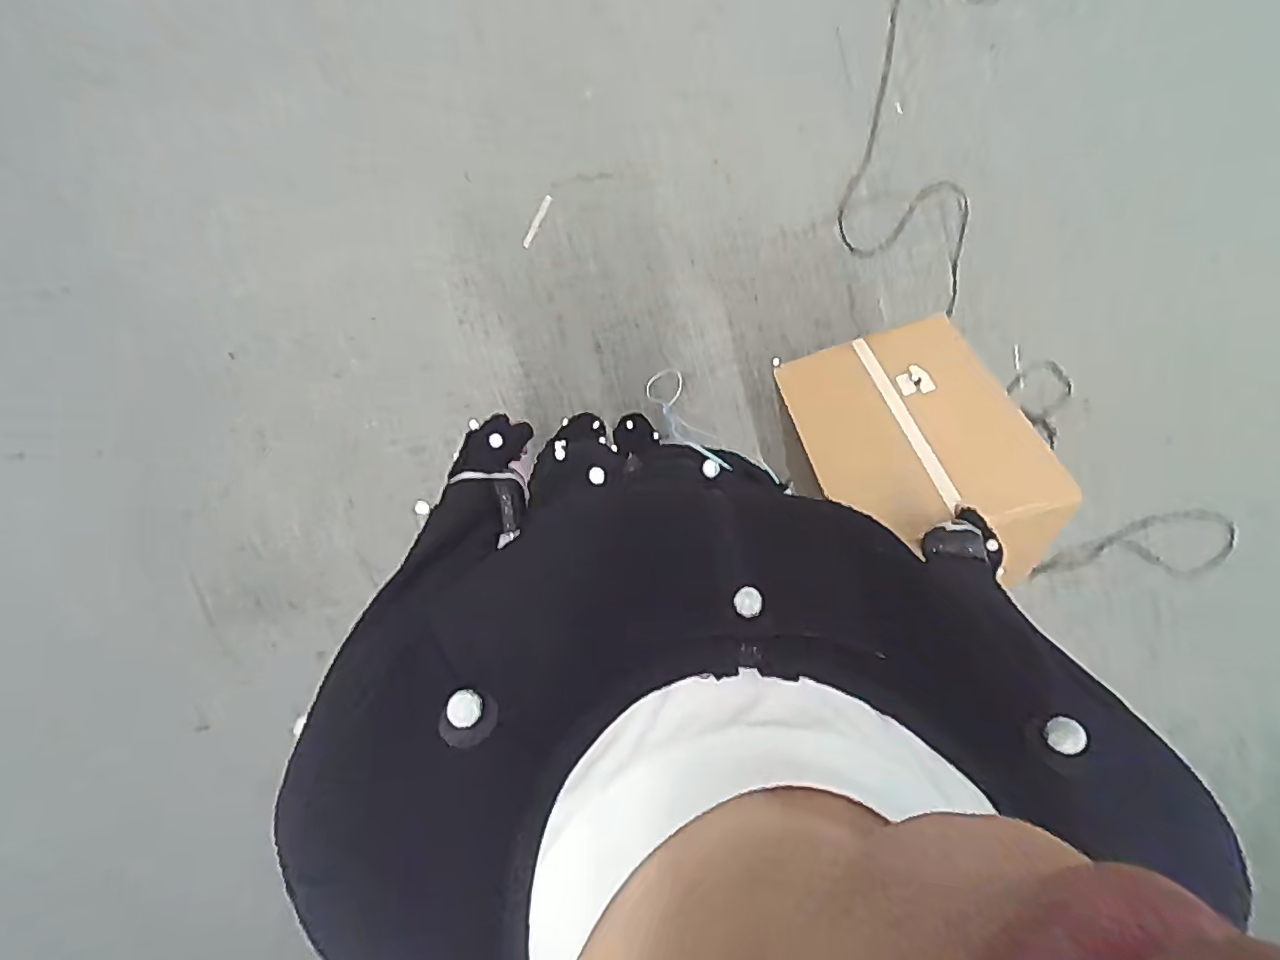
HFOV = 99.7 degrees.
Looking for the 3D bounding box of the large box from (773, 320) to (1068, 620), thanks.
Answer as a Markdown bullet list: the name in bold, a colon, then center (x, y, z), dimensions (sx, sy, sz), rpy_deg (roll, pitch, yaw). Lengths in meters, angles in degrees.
- **large box**: center (0.465, -0.011, 0.998), dimensions (0.320, 0.408, 0.320), rpy_deg (-15, 143, 9)
